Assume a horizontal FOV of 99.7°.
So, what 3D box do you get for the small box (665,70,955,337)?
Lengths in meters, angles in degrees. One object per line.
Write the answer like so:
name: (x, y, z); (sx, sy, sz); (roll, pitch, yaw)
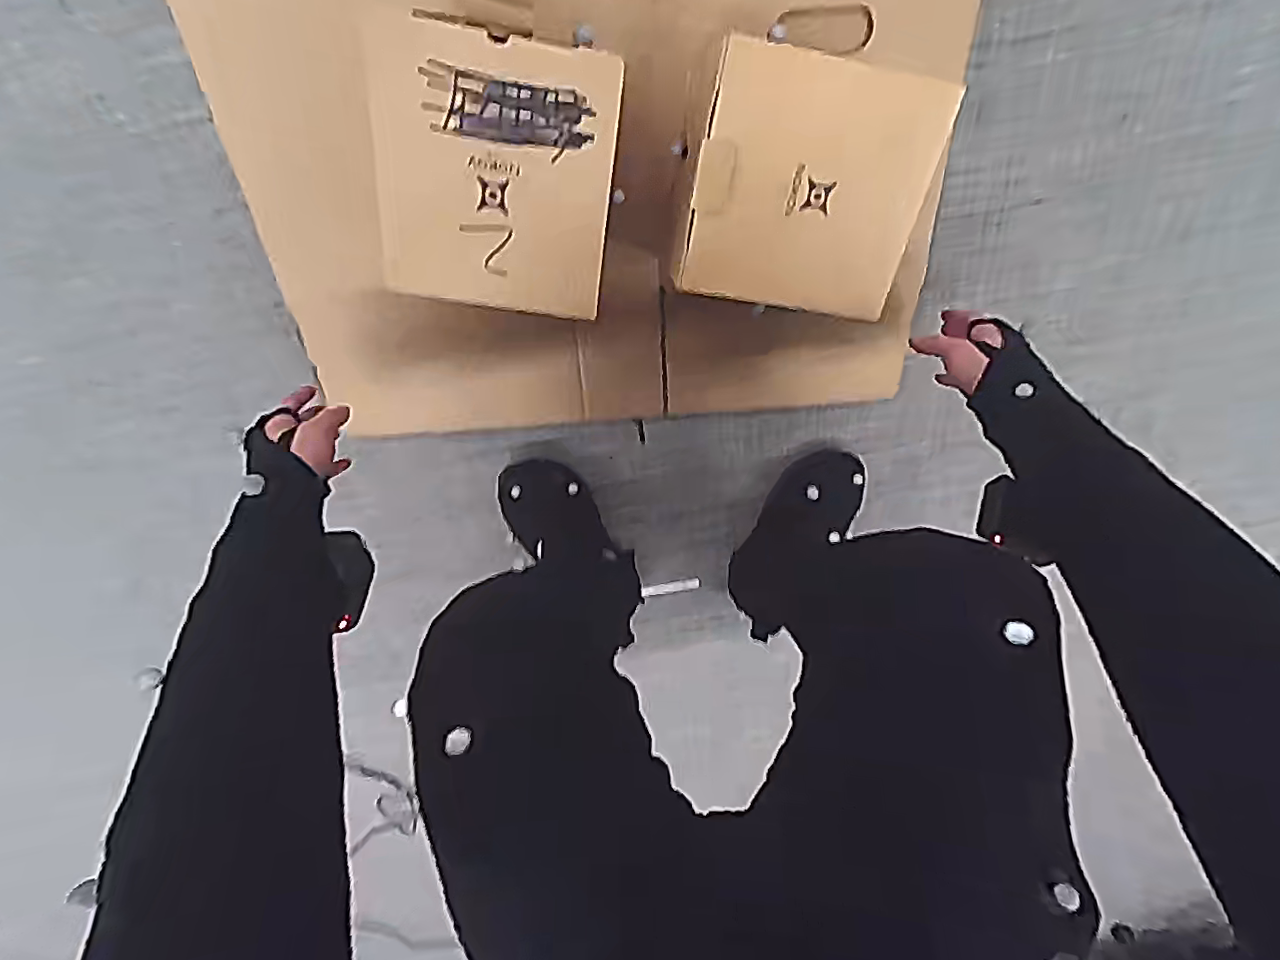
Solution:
small box: (0.127, -0.244, 0.486); (0.179, 0.176, 0.168); (7, 121, -7)
